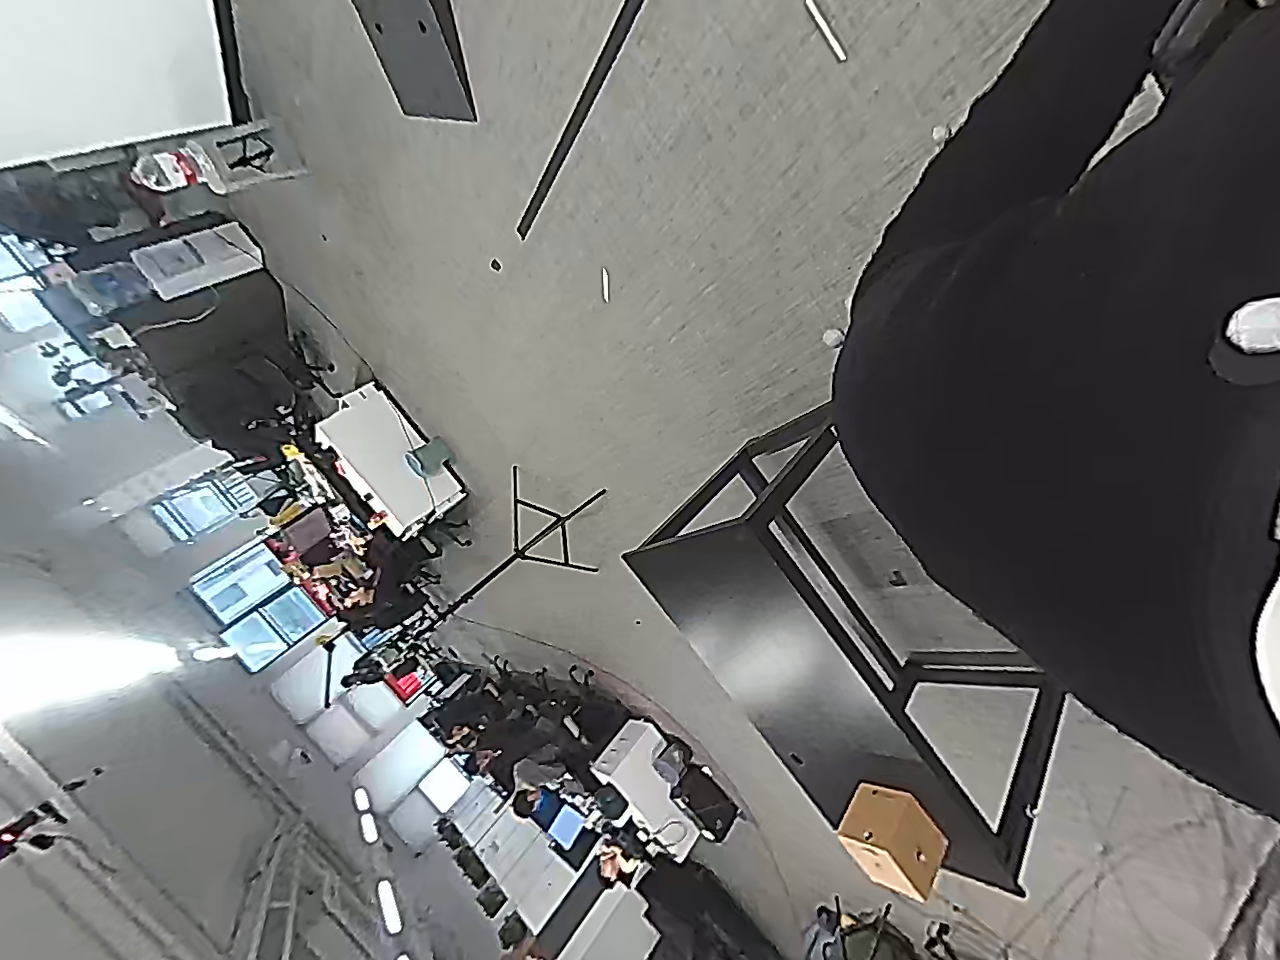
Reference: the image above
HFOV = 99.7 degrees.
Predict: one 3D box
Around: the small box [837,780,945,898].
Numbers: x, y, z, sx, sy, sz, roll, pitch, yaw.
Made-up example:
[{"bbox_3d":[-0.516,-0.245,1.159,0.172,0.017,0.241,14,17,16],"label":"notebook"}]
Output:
[{"bbox_3d":[0.672,0.943,1.437,0.179,0.176,0.168,51,148,-5],"label":"small box"}]
